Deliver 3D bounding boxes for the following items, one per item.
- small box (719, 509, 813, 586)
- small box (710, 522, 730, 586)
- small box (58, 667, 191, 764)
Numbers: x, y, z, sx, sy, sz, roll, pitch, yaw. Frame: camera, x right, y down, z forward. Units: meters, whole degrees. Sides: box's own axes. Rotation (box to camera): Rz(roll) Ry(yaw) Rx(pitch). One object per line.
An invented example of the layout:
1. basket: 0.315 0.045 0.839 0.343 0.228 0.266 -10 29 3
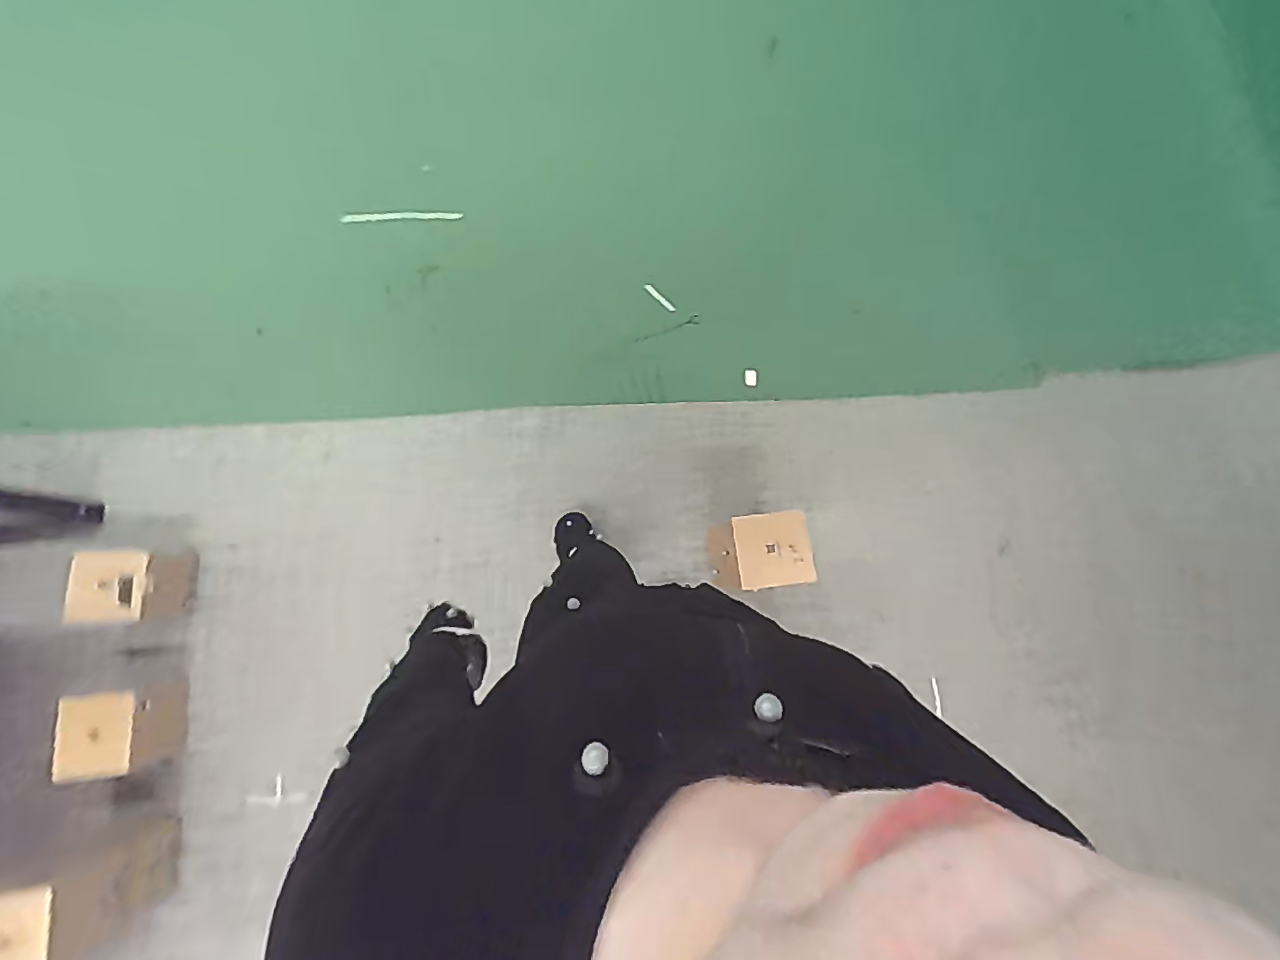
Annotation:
1. small box: 0.291 0.166 1.294 0.179 0.176 0.168 -5 81 -3
2. small box: 0.287 0.198 1.455 0.179 0.176 0.168 -3 80 -4
3. small box: -1.247 0.567 1.321 0.168 0.176 0.179 -5 79 -4
